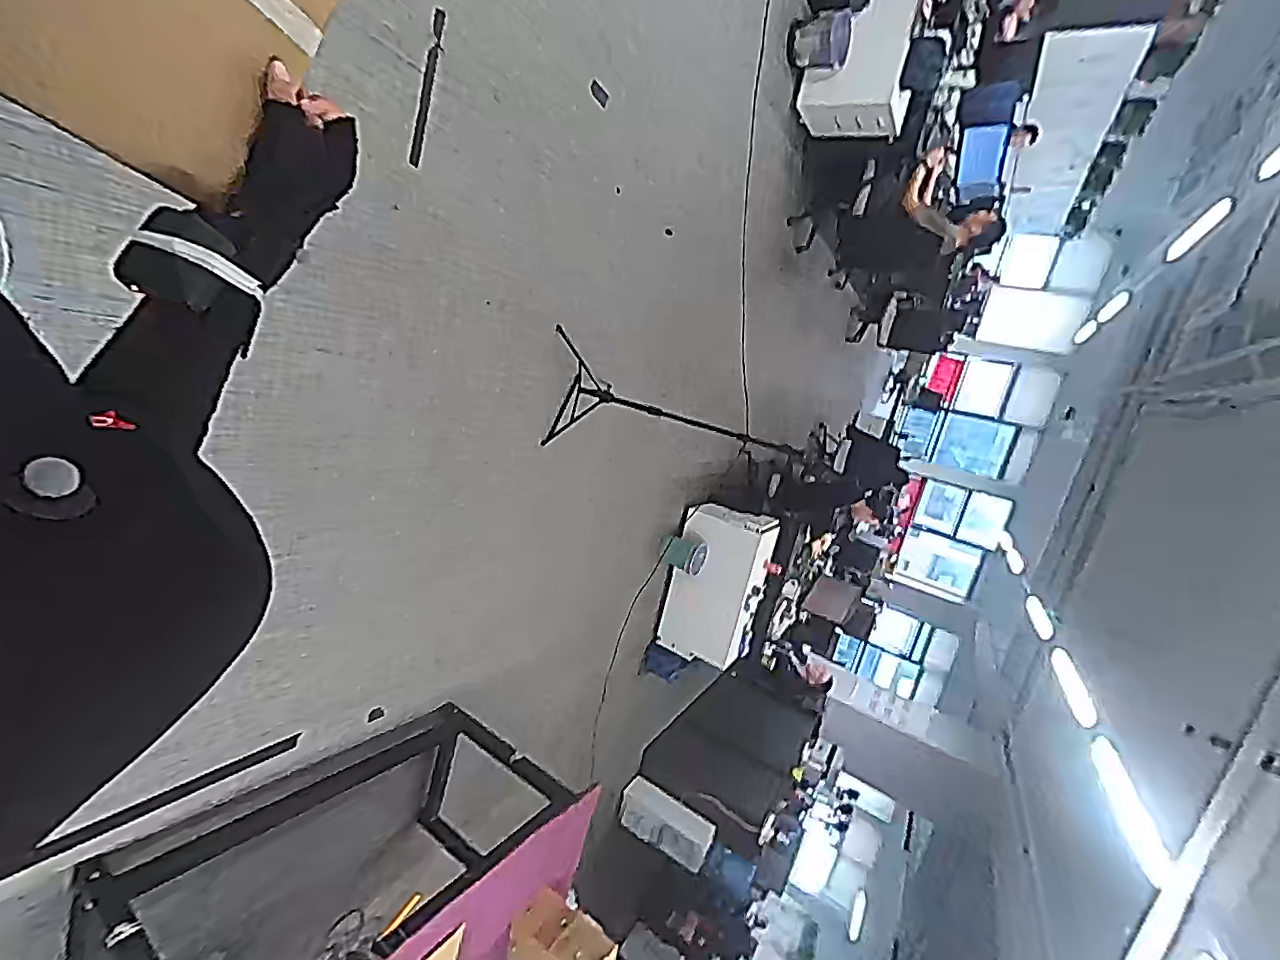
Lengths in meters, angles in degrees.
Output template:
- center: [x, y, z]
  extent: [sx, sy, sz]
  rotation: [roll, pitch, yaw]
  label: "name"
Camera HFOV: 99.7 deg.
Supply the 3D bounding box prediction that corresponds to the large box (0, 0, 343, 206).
- center: [-0.464, -0.464, 0.343]
  extent: [0.320, 0.320, 0.408]
  rotation: [-59, 151, 3]
  label: "large box"
